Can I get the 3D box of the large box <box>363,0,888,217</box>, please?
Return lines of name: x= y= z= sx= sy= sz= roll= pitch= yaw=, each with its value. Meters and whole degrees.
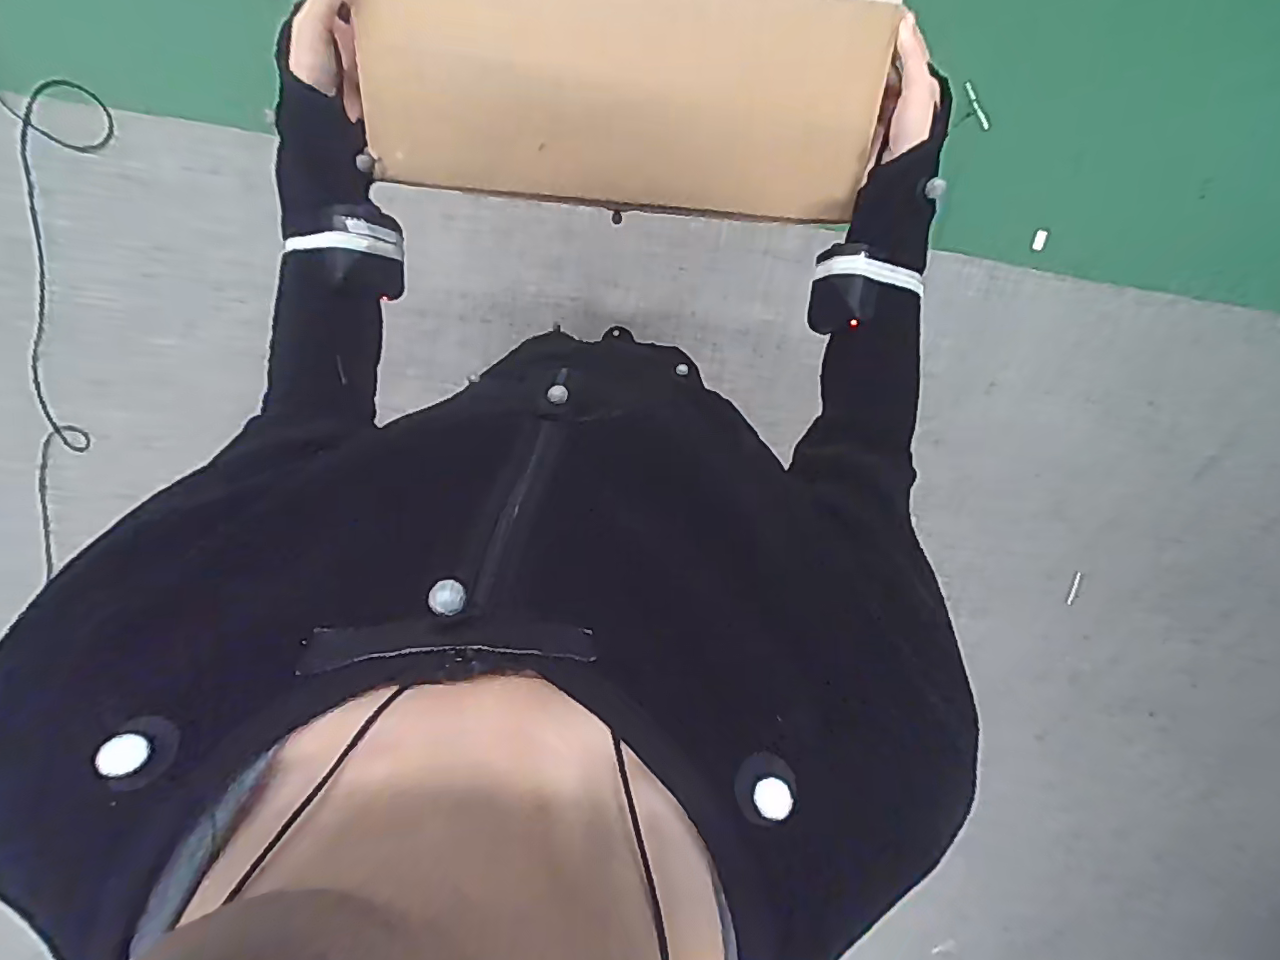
large box: x=-0.011 y=-0.447 z=0.531 sx=0.408 sy=0.320 sz=0.320 roll=3 pitch=116 yaw=-4
